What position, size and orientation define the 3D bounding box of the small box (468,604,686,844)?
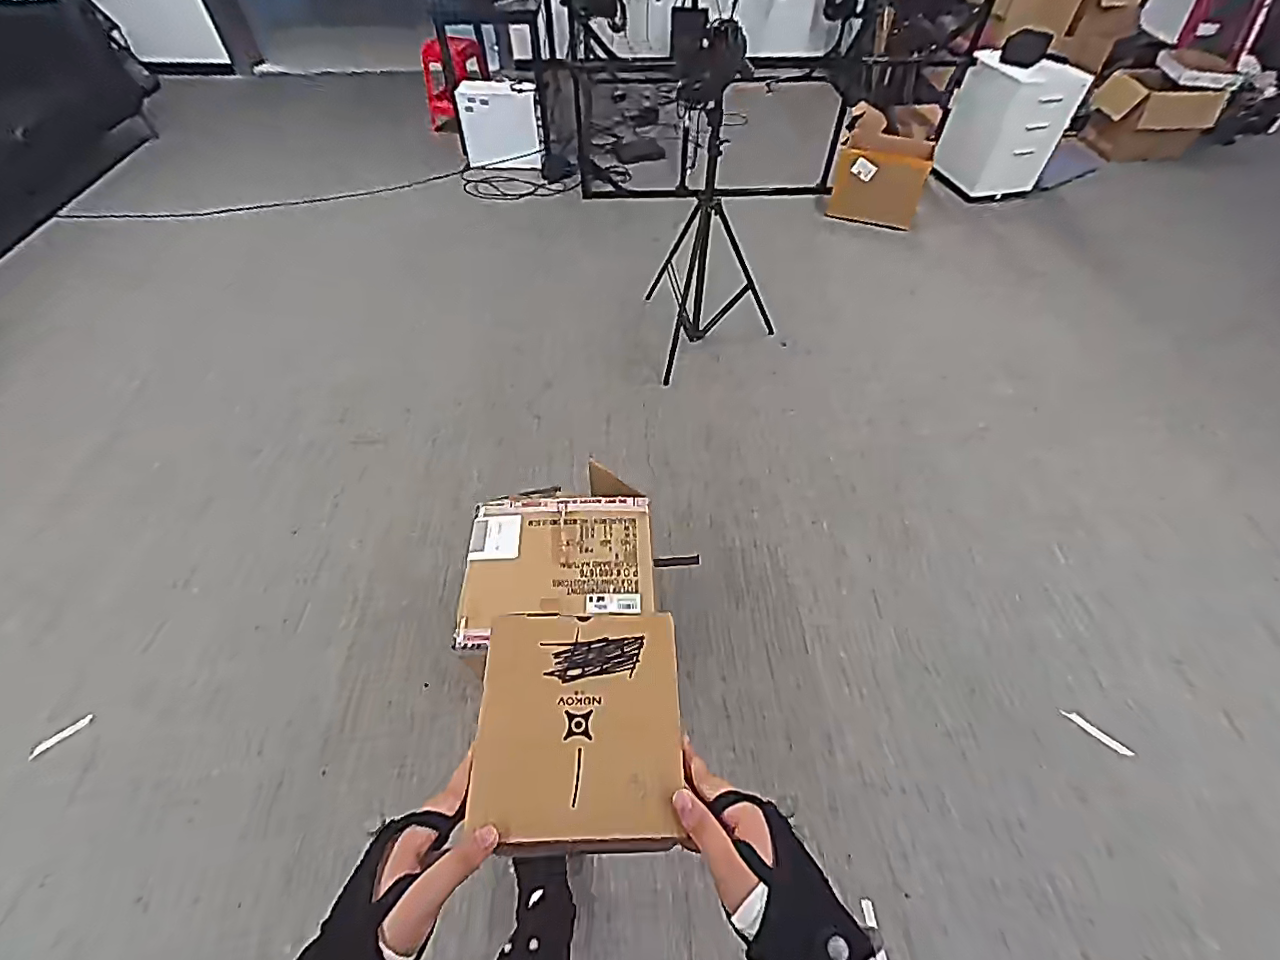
[{"bbox_3d":[-0.051,0.234,0.514,0.168,0.176,0.179,0,53,-3],"label":"small box"}]
